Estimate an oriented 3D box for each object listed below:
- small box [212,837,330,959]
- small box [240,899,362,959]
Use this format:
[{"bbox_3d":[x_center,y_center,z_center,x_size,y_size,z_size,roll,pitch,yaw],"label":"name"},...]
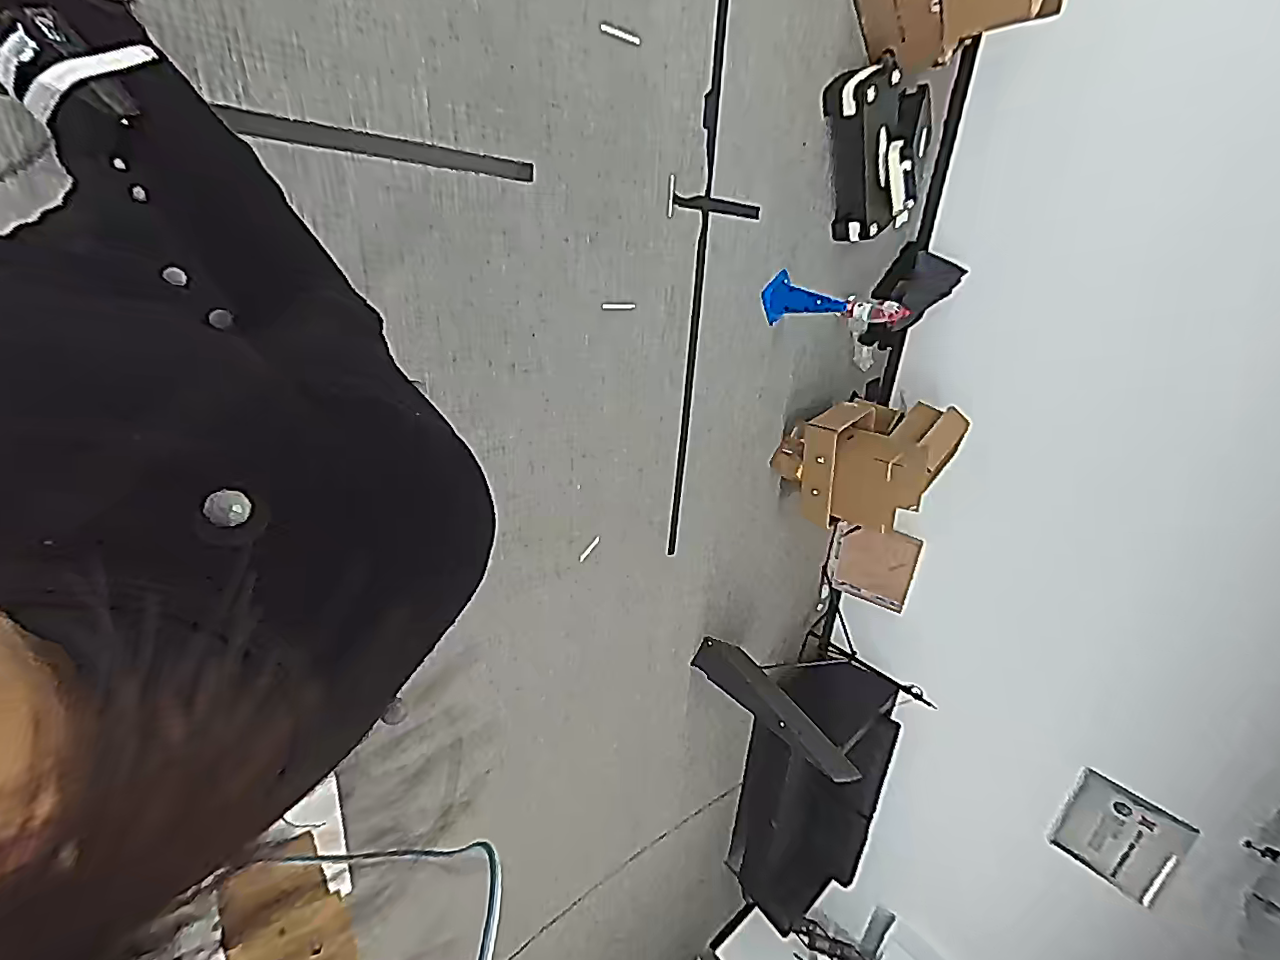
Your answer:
[{"bbox_3d":[-0.754,0.894,1.115,0.179,0.176,0.168,-11,117,-40],"label":"small box"},{"bbox_3d":[-0.634,0.945,1.017,0.168,0.176,0.179,-9,116,-41],"label":"small box"}]
